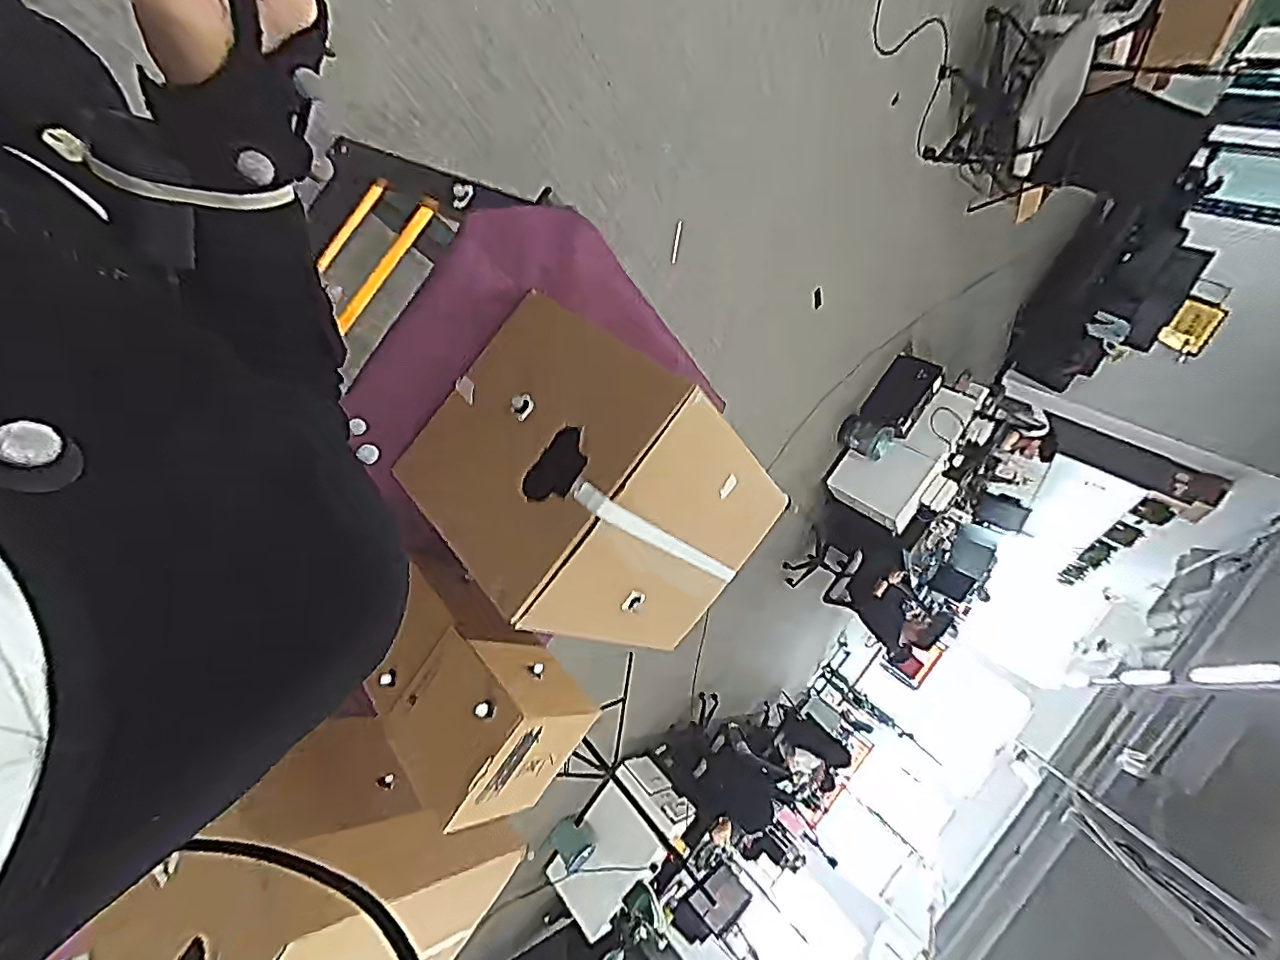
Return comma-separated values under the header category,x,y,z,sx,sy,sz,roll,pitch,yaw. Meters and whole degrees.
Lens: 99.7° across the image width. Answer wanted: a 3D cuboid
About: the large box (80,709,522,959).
category,x,y,z,sx,sy,sz,roll,pitch,yaw
large box,-0.468,0.576,0.797,0.320,0.320,0.408,-54,147,1
